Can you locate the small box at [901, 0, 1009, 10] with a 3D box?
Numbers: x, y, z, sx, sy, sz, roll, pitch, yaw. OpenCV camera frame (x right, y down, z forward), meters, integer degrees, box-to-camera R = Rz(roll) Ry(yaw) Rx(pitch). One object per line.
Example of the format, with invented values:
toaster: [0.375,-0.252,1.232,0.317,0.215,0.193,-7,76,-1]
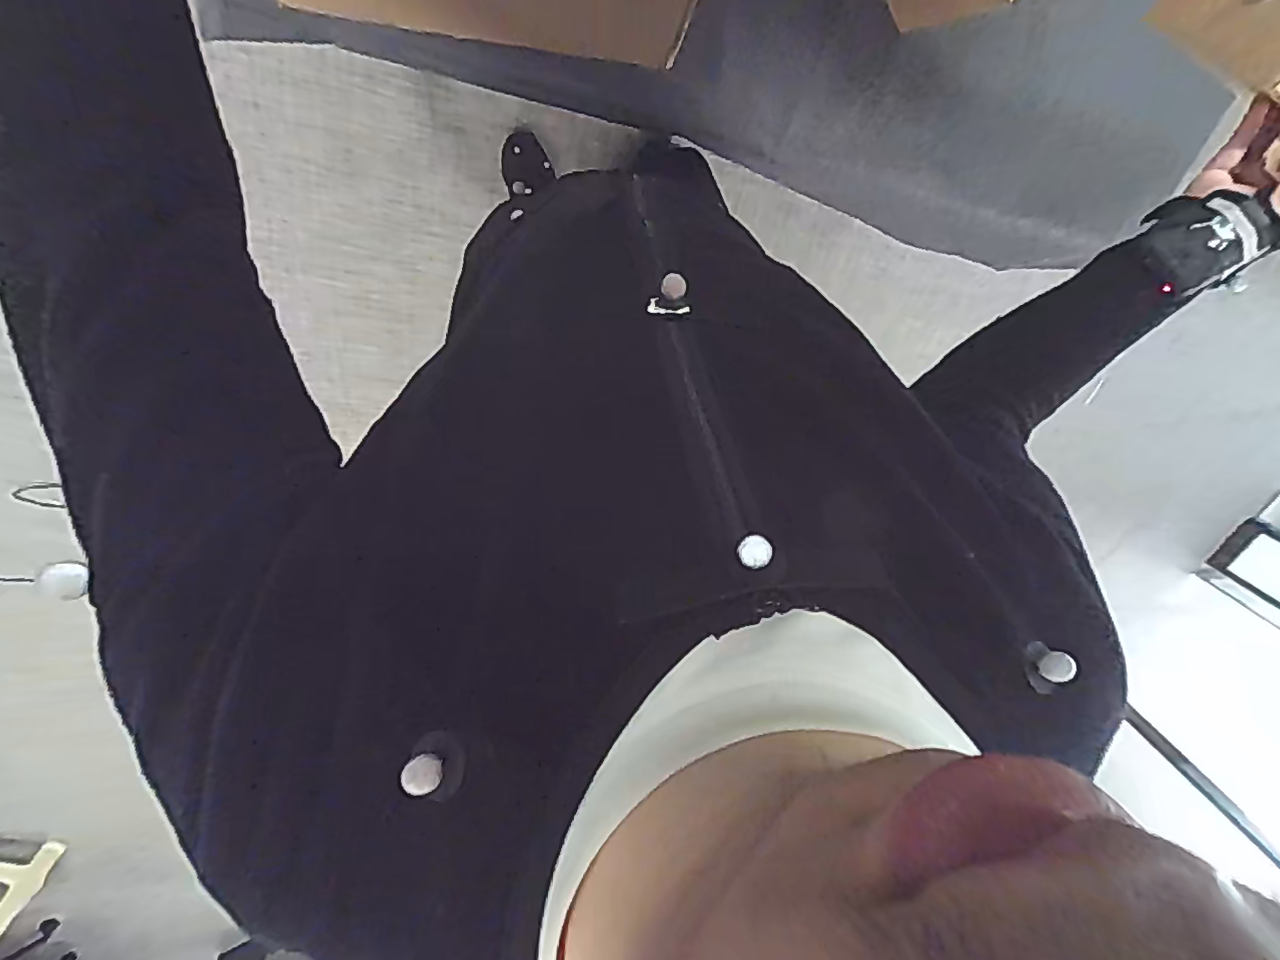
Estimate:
small box: [0.321,-0.574,0.488,0.168,0.176,0.179,-40,123,17]

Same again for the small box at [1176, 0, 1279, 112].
small box: [0.565,-0.382,0.399,0.168,0.176,0.179,12,141,-20]
